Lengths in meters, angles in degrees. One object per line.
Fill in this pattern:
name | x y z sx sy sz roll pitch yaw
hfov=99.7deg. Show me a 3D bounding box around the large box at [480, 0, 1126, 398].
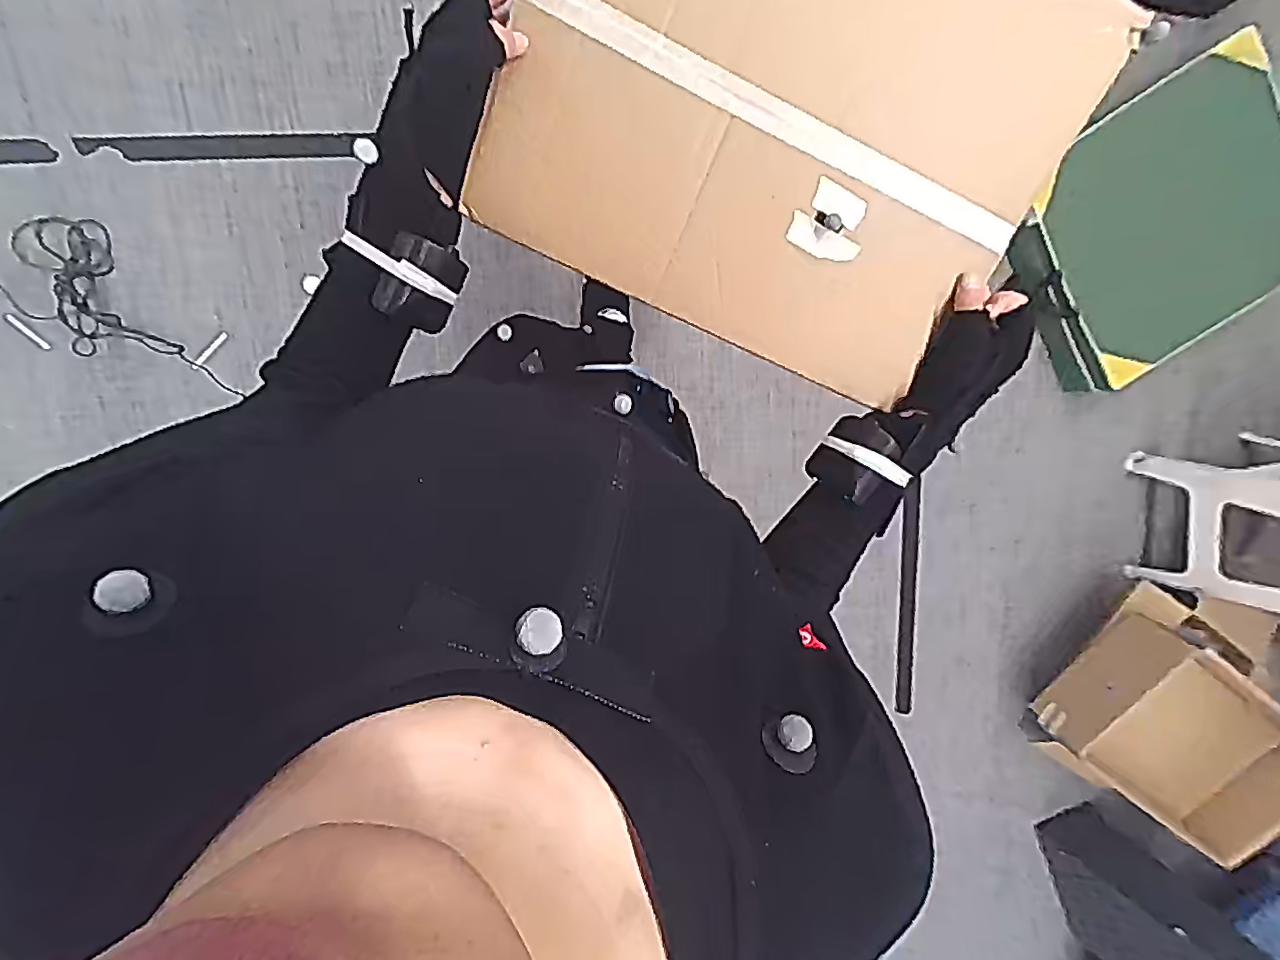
large box | 0.108 -0.330 0.546 0.408 0.320 0.320 23 112 -10
